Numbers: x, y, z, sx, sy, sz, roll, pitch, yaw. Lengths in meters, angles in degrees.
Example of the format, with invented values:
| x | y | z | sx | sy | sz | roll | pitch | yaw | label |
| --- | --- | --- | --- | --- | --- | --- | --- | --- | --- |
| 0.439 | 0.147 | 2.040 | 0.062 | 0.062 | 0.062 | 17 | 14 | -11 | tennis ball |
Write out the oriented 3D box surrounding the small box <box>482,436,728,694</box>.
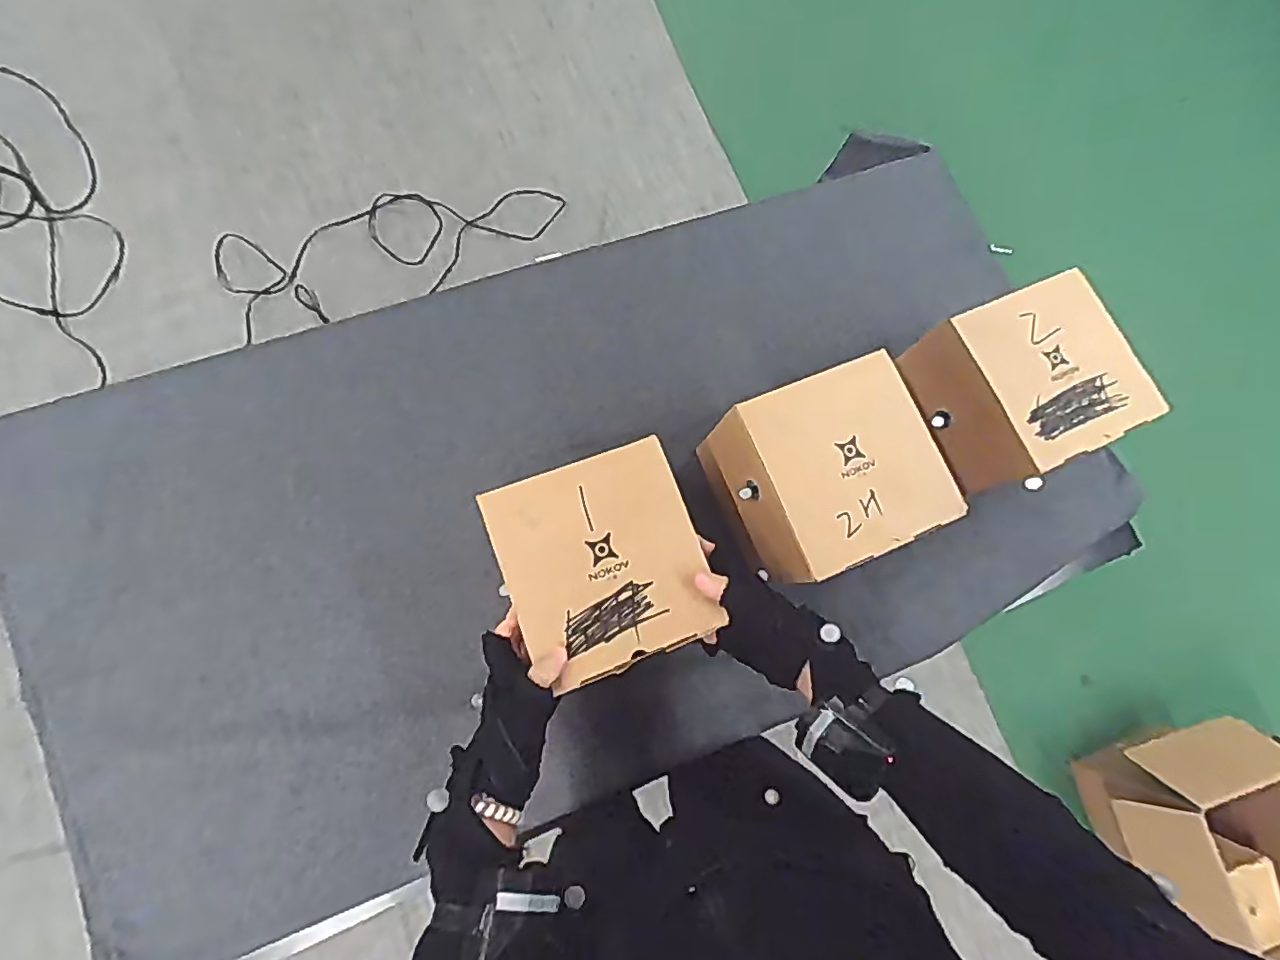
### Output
| x | y | z | sx | sy | sz | roll | pitch | yaw | label |
| --- | --- | --- | --- | --- | --- | --- | --- | --- | --- |
| -0.037 | 0.080 | 0.528 | 0.168 | 0.176 | 0.179 | -19 | 81 | -11 | small box |

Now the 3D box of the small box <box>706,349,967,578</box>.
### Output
| x | y | z | sx | sy | sz | roll | pitch | yaw | label |
| --- | --- | --- | --- | --- | --- | --- | --- | --- | --- |
| 0.186 | -0.005 | 0.571 | 0.168 | 0.176 | 0.179 | -21 | 82 | -9 | small box |
